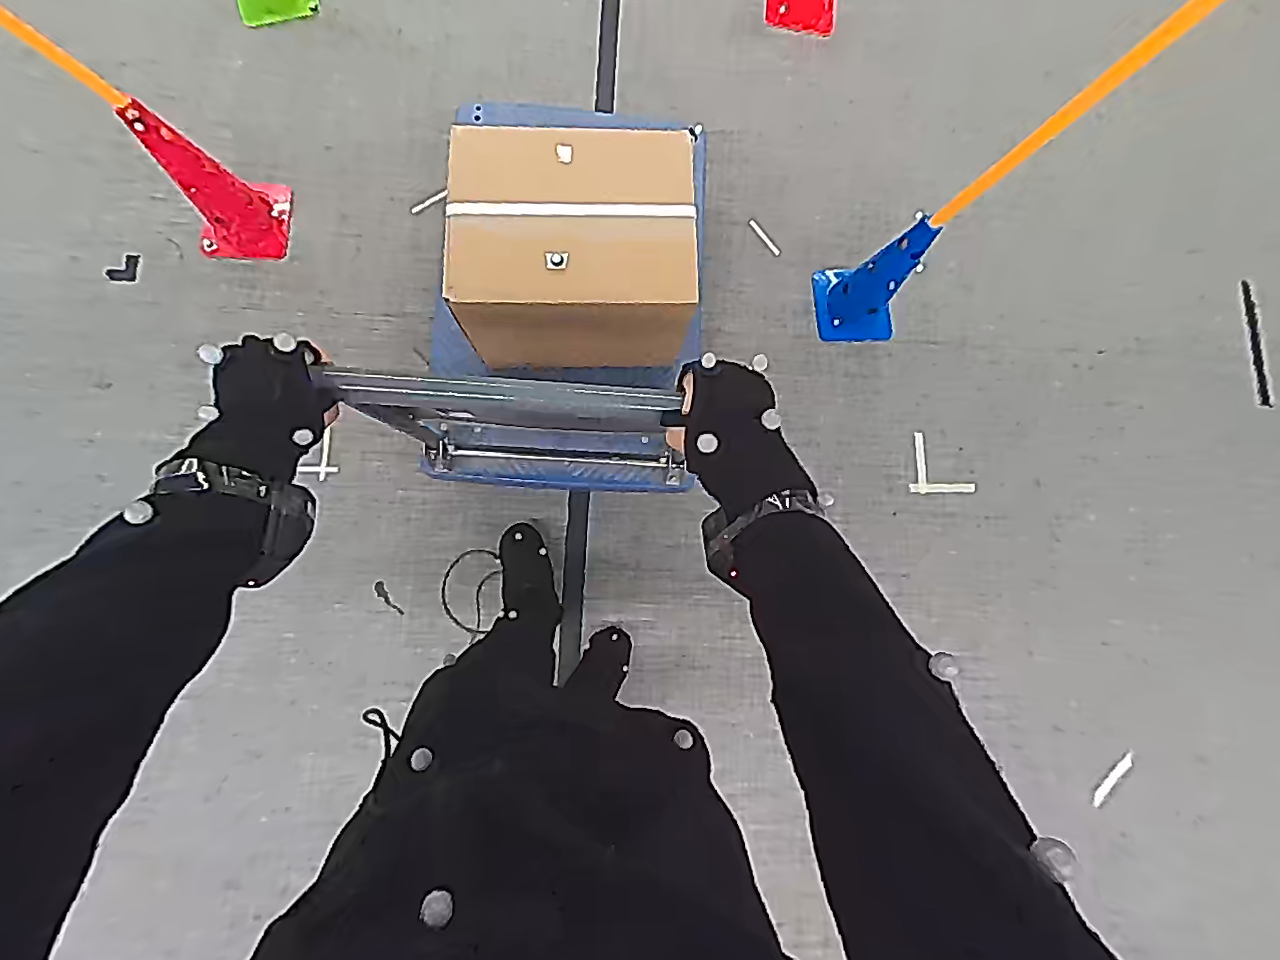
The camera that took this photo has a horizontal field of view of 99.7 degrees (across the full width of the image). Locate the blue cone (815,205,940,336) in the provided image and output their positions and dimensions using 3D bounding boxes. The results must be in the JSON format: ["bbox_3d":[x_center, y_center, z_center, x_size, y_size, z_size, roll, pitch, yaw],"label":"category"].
[{"bbox_3d":[0.574,-0.496,1.265,0.193,0.380,0.192,-2,81,-5],"label":"blue cone"}]

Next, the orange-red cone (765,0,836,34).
[{"bbox_3d":[0.475,-1.395,1.373,0.199,0.360,0.198,9,82,-4],"label":"orange-red cone"}]
